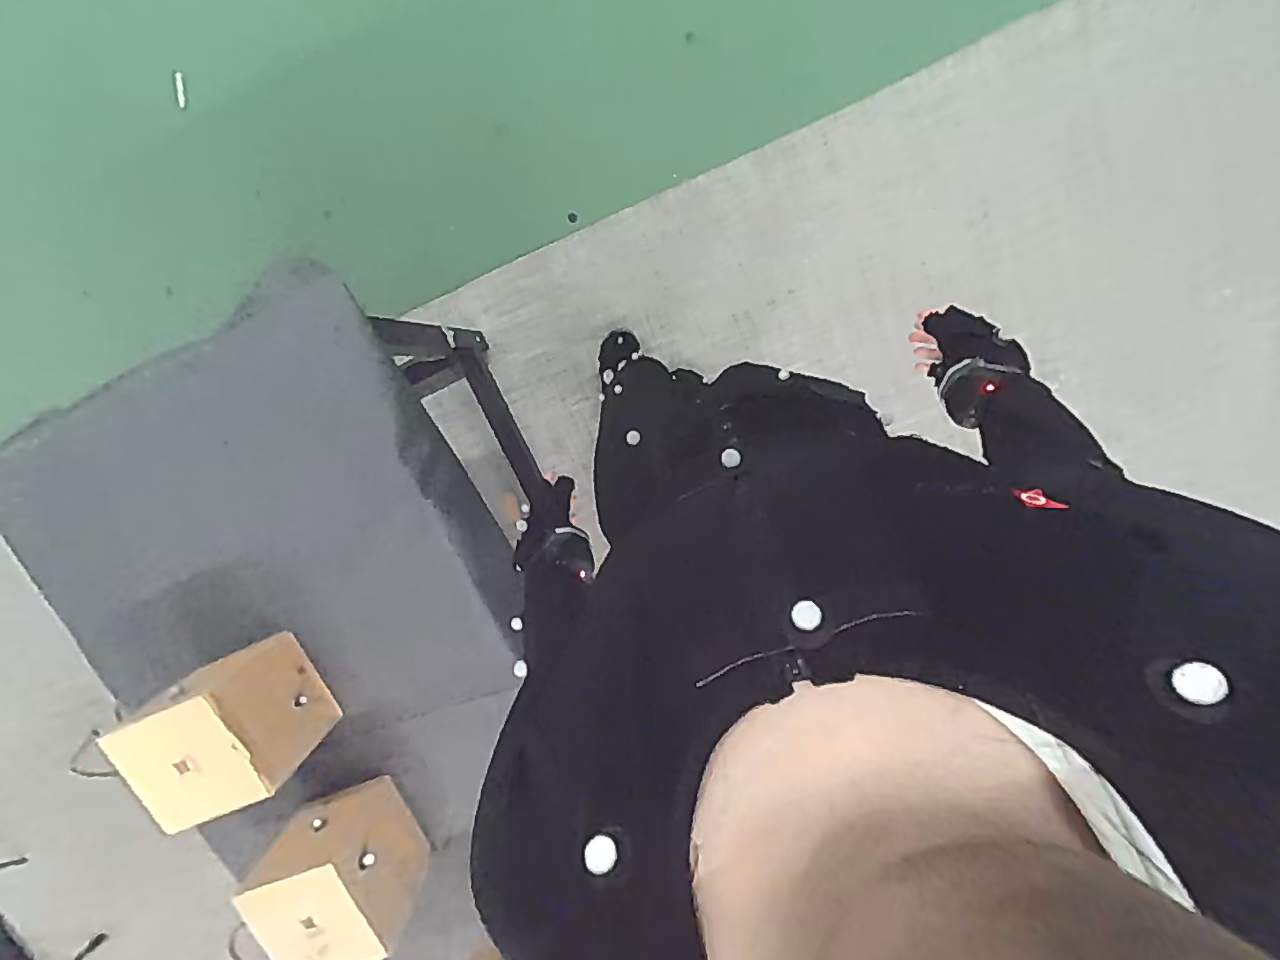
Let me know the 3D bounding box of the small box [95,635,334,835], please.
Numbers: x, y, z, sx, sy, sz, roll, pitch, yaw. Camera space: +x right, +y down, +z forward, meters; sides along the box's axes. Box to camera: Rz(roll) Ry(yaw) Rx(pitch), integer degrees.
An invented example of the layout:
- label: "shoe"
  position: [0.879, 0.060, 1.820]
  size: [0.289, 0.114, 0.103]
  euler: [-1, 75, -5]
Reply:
- label: "small box"
  position: [-0.596, 0.357, 0.783]
  size: [0.179, 0.176, 0.168]
  euler: [-24, 101, 6]

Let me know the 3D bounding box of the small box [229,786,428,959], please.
- label: "small box"
  position: [-0.462, 0.609, 0.833]
  size: [0.168, 0.176, 0.179]
  euler: [-22, 101, 6]
